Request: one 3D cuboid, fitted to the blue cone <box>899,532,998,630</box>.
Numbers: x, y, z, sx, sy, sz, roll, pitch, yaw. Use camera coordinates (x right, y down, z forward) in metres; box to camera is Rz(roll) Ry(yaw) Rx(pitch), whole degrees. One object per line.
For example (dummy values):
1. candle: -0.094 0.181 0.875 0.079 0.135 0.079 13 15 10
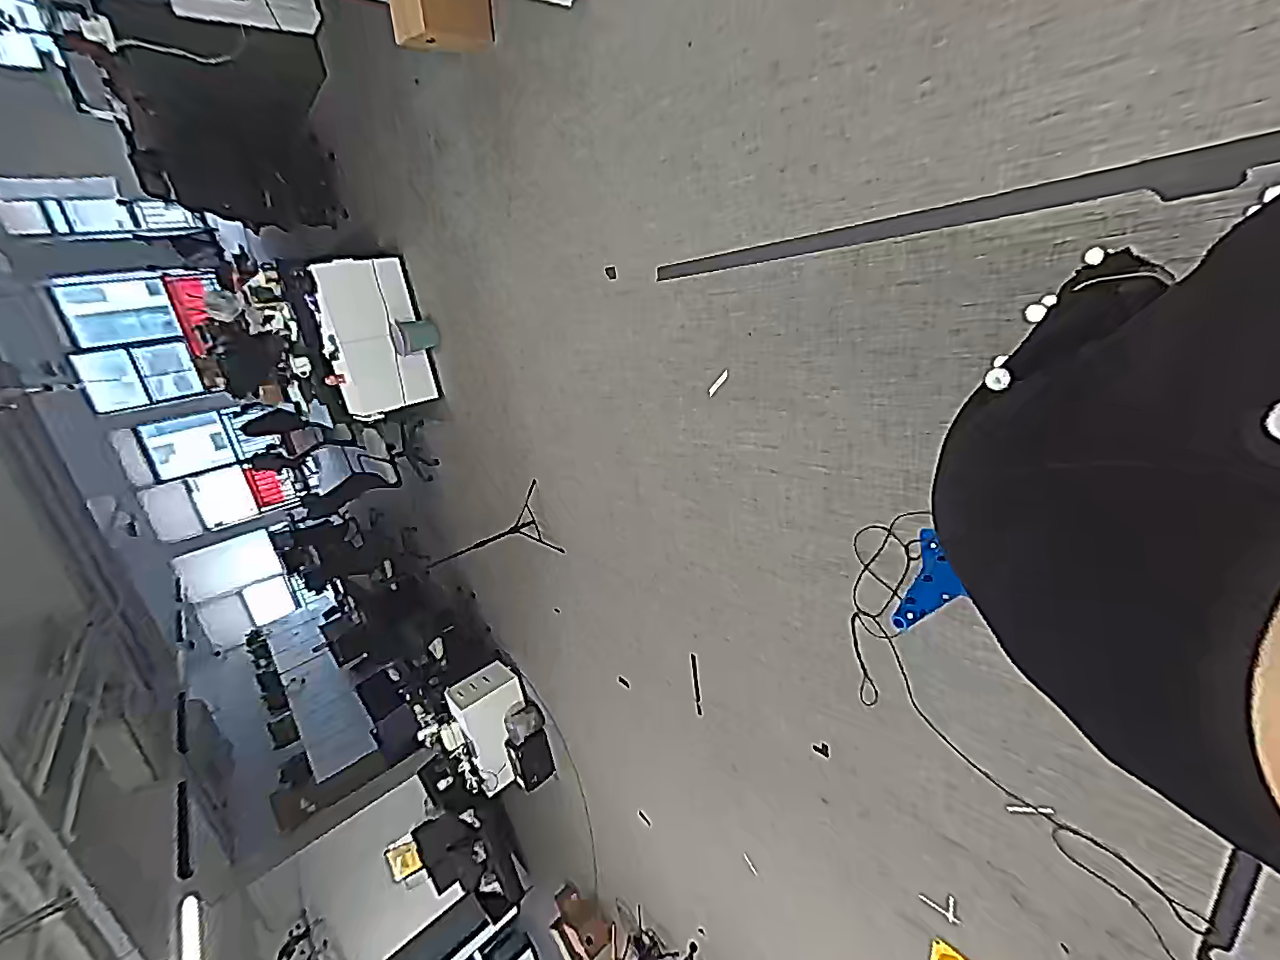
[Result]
1. blue cone: 0.783 0.293 1.439 0.192 0.380 0.193 7 114 50
